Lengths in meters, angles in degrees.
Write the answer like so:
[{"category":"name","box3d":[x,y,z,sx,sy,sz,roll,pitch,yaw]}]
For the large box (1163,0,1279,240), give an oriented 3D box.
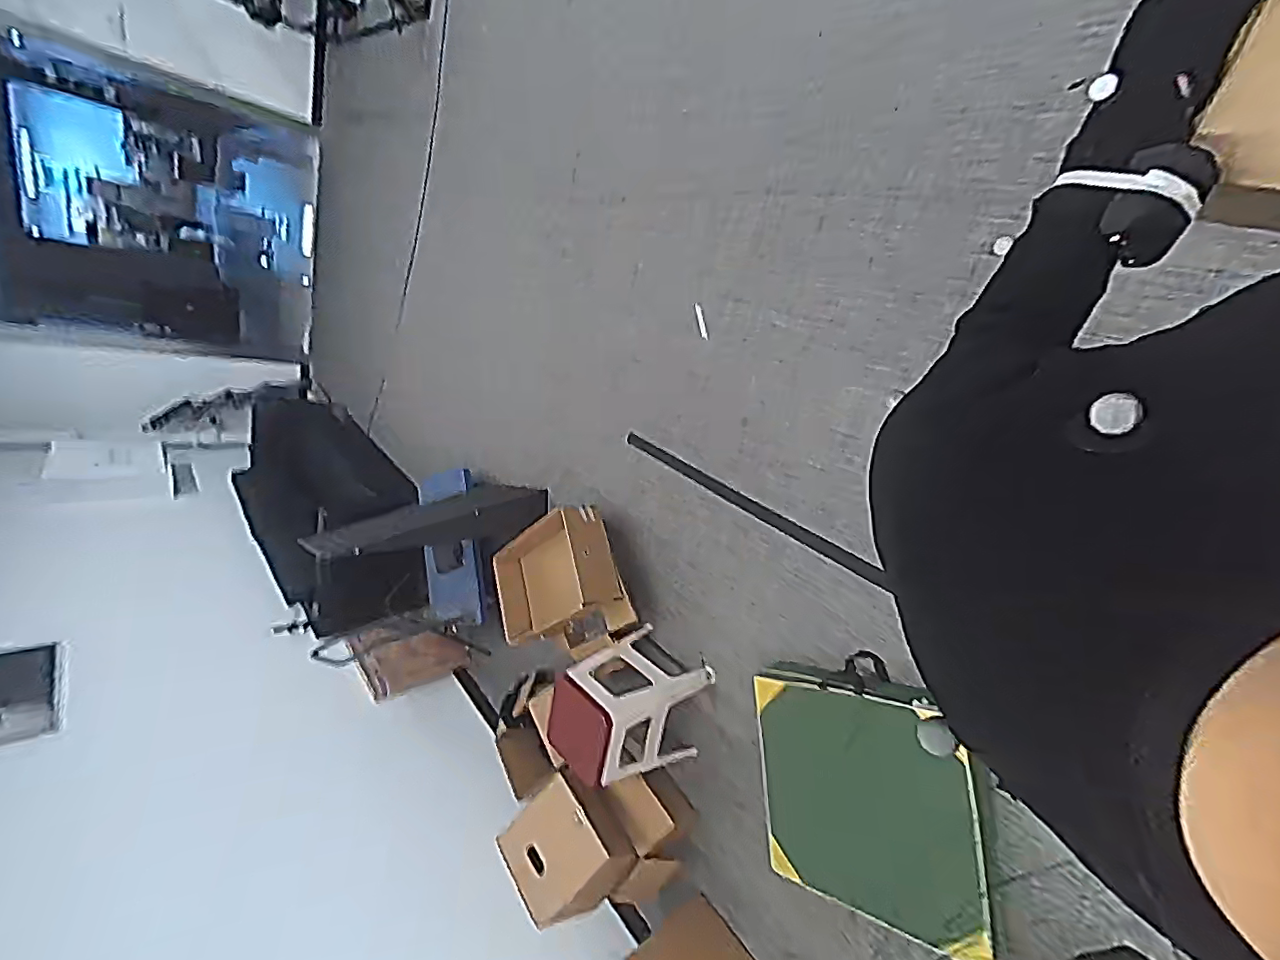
[{"category":"large box","box3d":[0.664,-0.311,0.341,0.408,0.320,0.320,31,124,33]}]
